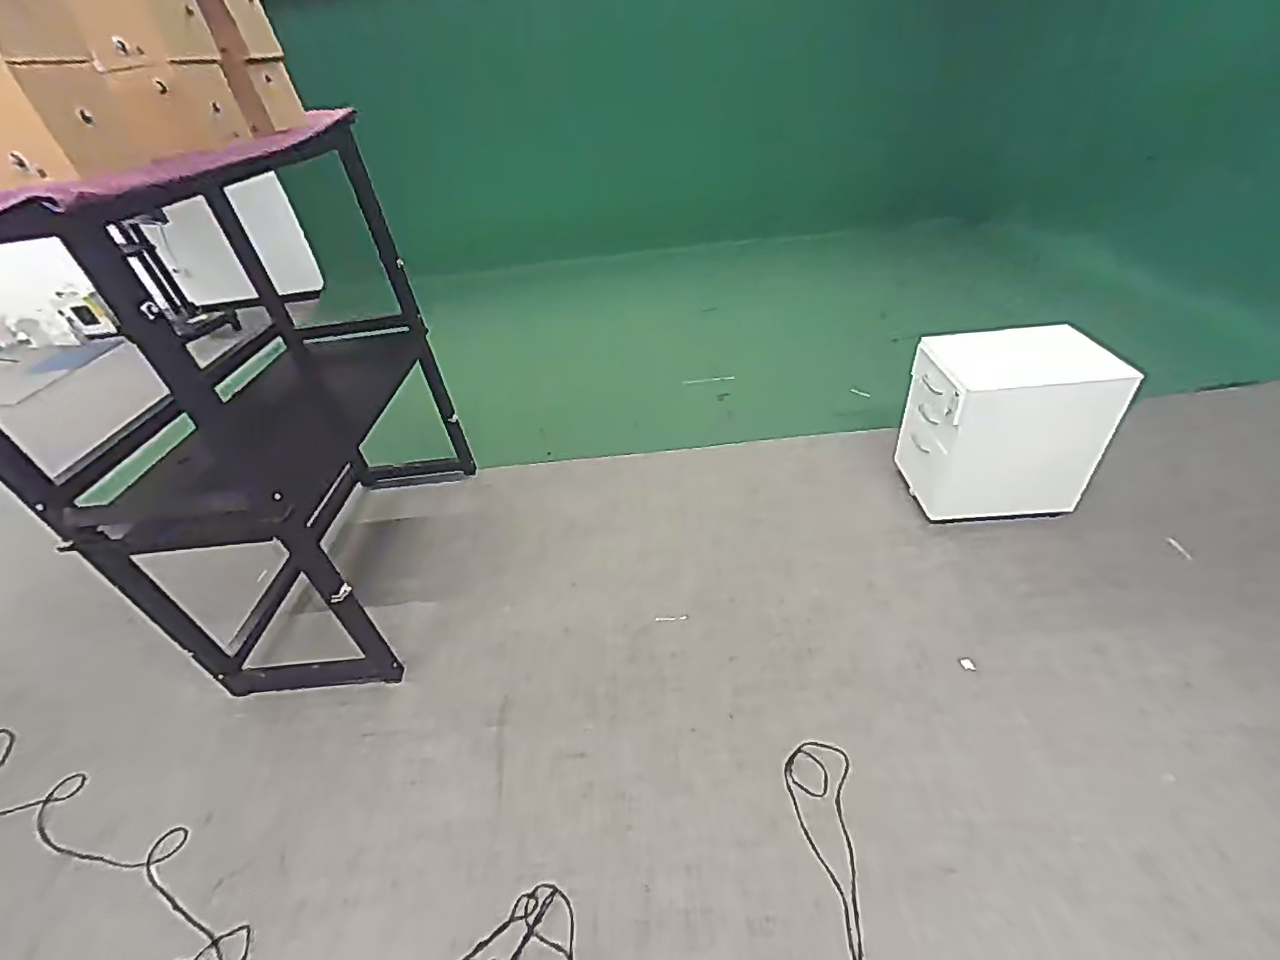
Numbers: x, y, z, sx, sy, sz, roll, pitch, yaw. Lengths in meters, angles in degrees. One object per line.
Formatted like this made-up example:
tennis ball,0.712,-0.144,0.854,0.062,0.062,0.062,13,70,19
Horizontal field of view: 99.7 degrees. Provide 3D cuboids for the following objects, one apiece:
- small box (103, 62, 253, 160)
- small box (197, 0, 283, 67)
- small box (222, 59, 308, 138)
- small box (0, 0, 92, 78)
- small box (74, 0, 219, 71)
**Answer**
small box,-1.078,-0.875,1.283,0.179,0.176,0.168,-4,38,5
small box,-1.119,-1.224,1.462,0.168,0.176,0.179,-6,39,6
small box,-1.111,-1.100,1.567,0.168,0.176,0.179,-3,39,9
small box,-1.065,-0.758,0.867,0.168,0.176,0.179,-4,39,4
small box,-1.084,-1.009,1.191,0.168,0.176,0.179,-5,39,6
